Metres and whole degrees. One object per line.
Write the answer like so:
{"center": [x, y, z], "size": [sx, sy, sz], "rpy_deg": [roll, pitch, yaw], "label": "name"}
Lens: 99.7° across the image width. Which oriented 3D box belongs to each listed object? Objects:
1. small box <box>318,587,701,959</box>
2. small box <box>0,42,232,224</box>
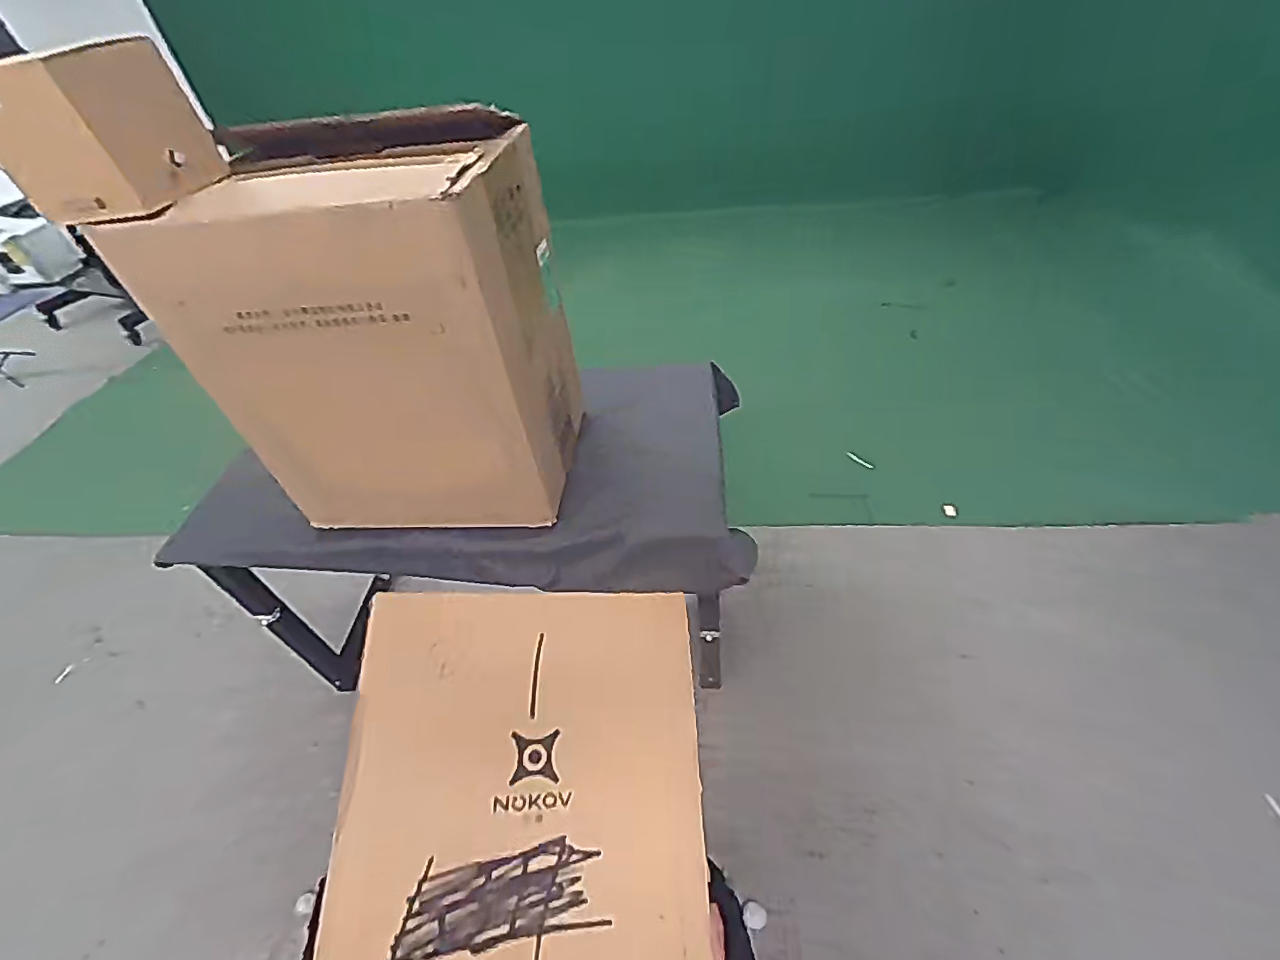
{"center": [-0.069, 0.169, 0.333], "size": [0.168, 0.176, 0.179], "rpy_deg": [2, 66, -12], "label": "small box"}
{"center": [-0.707, -0.464, 0.729], "size": [0.168, 0.176, 0.179], "rpy_deg": [-2, 44, 11], "label": "small box"}
